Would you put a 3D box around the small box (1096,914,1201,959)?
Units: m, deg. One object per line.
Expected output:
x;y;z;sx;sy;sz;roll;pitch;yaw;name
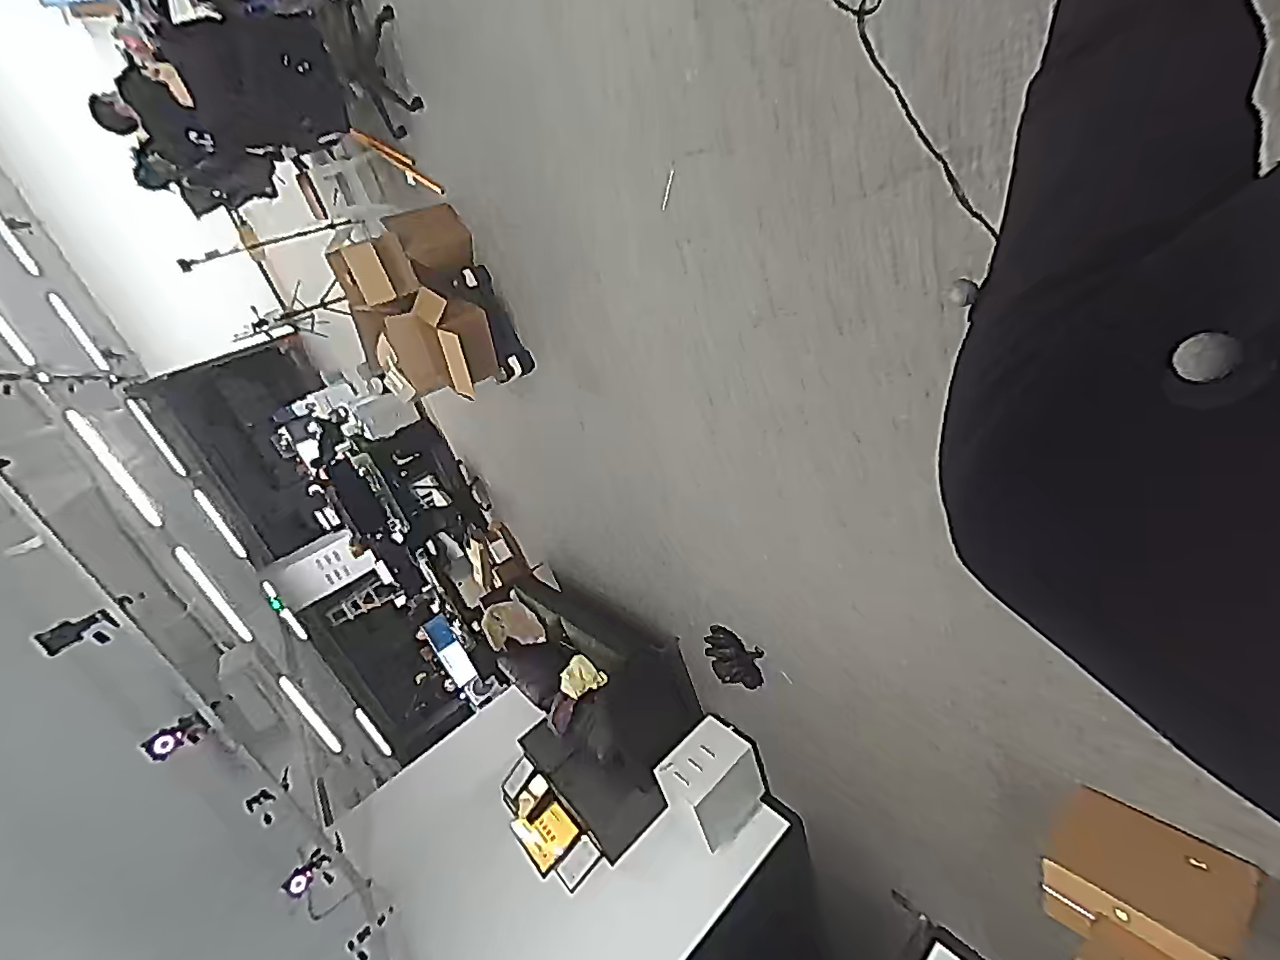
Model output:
1.401;1.357;1.494;0.179;0.176;0.168;14;125;54;small box
